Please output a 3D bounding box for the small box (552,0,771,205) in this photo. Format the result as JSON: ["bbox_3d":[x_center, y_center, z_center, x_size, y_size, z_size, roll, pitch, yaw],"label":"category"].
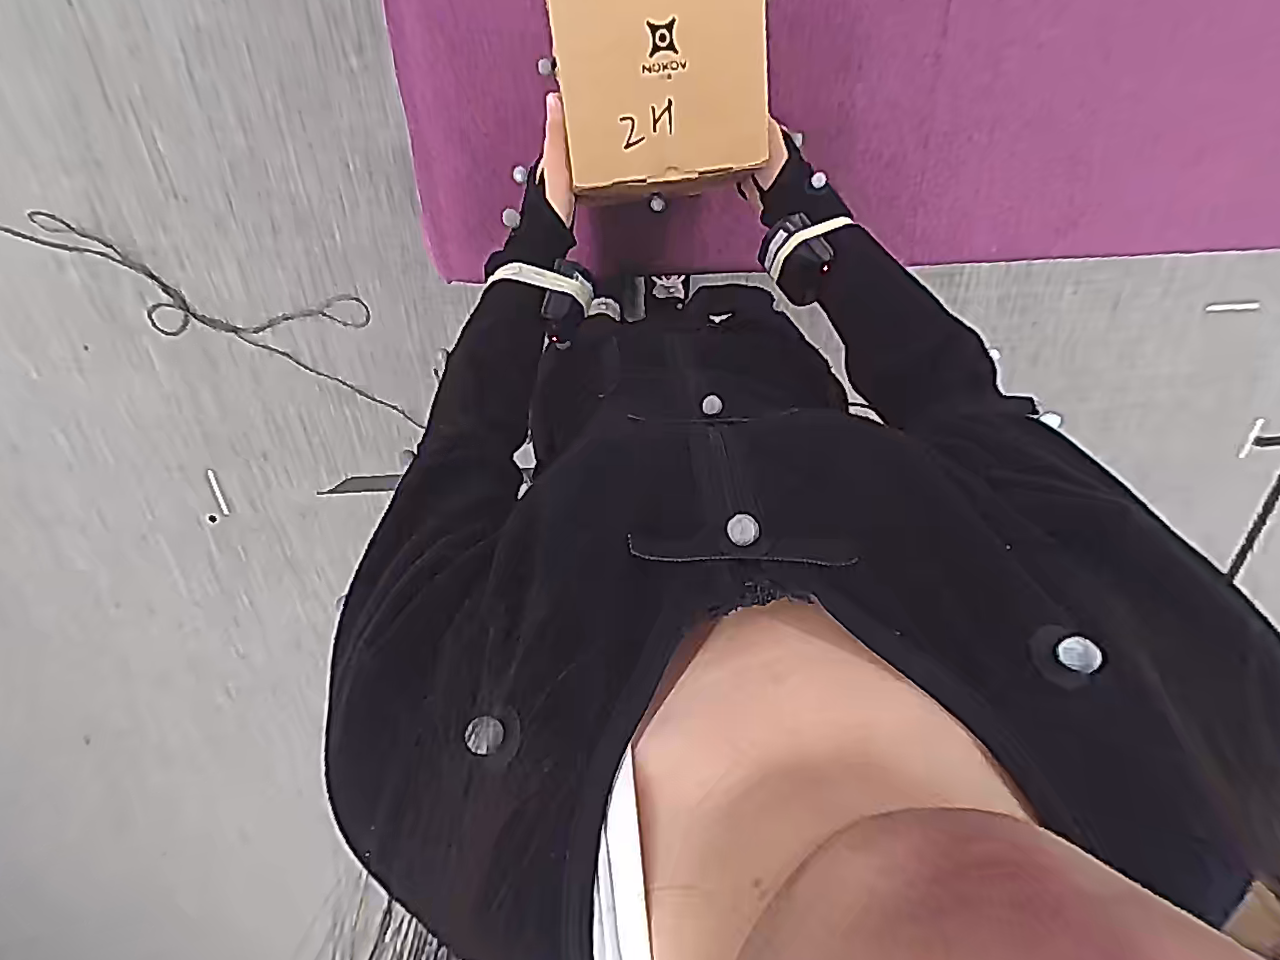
[{"bbox_3d":[0.012,-0.362,0.488,0.168,0.176,0.179,-8,112,-2],"label":"small box"}]
